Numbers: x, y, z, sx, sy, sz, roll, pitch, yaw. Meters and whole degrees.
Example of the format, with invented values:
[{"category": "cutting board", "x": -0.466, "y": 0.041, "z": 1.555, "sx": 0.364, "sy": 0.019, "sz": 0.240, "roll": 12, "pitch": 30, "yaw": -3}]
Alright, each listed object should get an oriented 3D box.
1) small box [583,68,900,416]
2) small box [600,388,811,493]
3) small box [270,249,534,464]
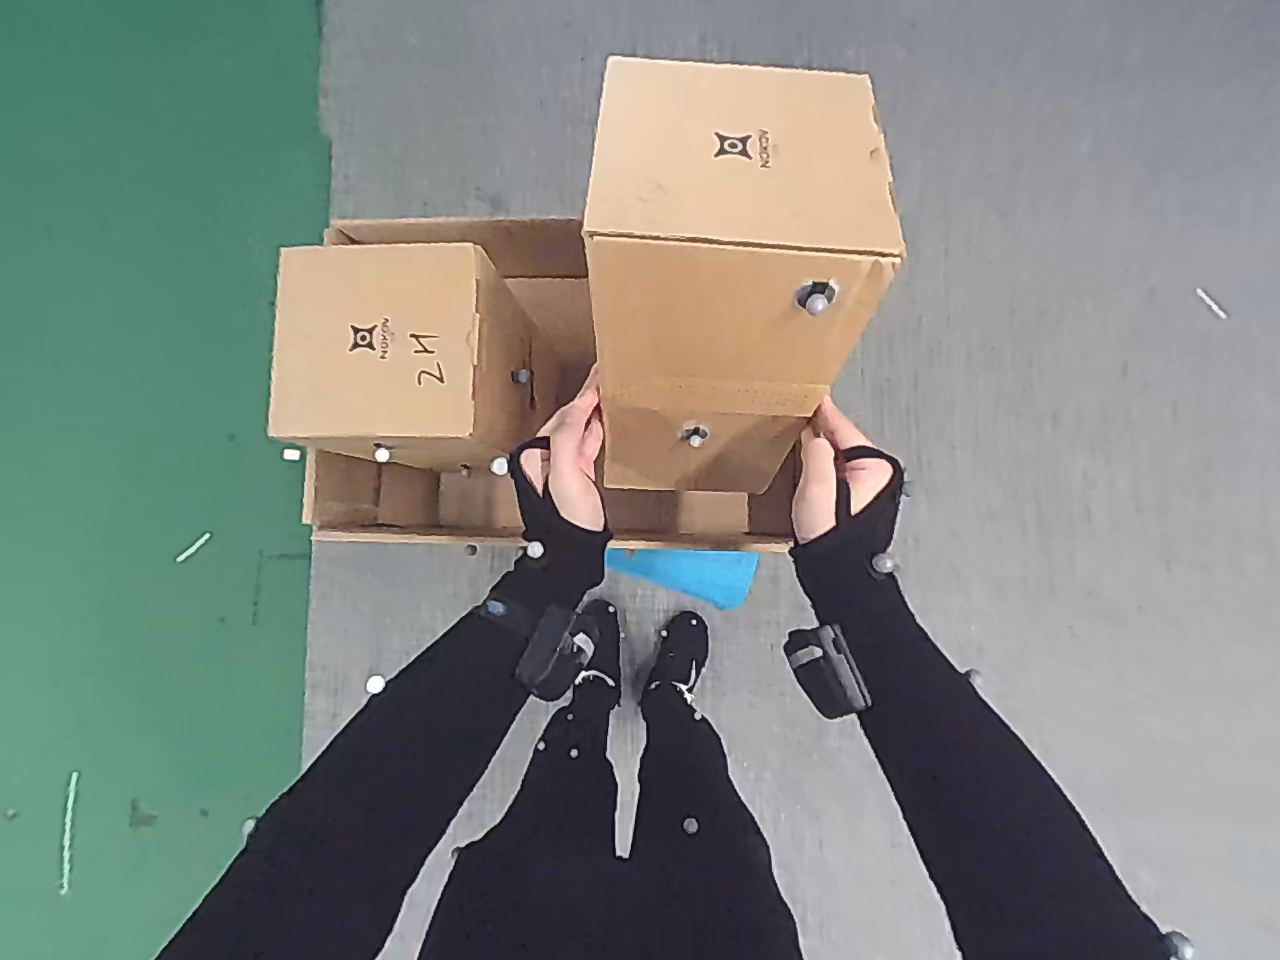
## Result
[{"category": "small box", "x": 0.058, "y": -0.162, "z": 0.399, "sx": 0.179, "sy": 0.176, "sz": 0.168, "roll": 4, "pitch": 65, "yaw": -1}, {"category": "small box", "x": 0.055, "y": -0.095, "z": 0.546, "sx": 0.179, "sy": 0.176, "sz": 0.168, "roll": 3, "pitch": 64, "yaw": -1}, {"category": "small box", "x": -0.214, "y": -0.106, "z": 0.531, "sx": 0.179, "sy": 0.176, "sz": 0.168, "roll": 1, "pitch": 85, "yaw": 3}]
